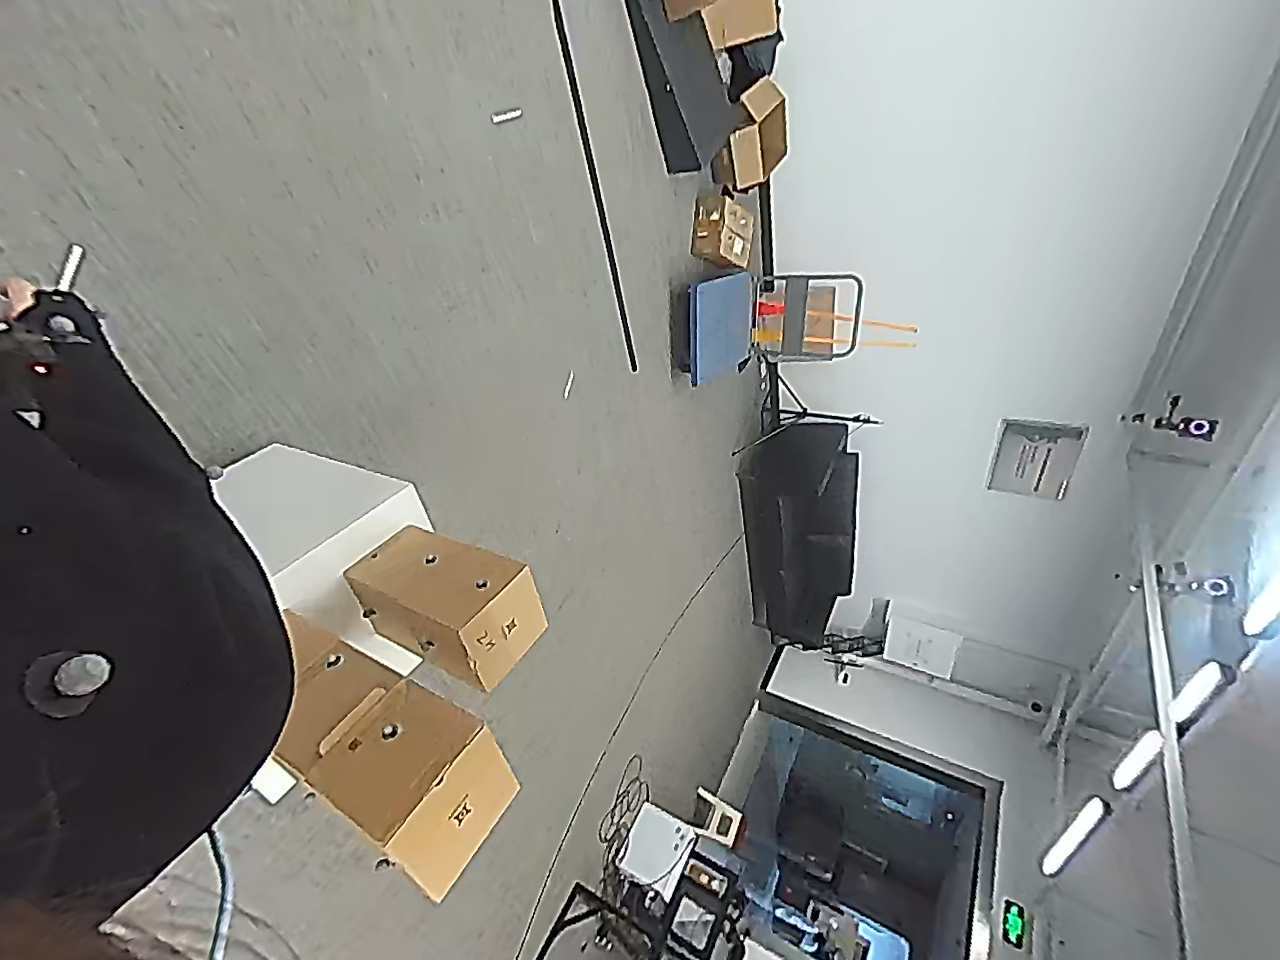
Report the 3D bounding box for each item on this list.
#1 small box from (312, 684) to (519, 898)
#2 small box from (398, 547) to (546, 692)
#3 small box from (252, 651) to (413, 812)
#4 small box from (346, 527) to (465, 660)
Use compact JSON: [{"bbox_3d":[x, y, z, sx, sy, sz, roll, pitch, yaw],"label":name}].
[{"bbox_3d":[-0.302,0.416,0.747,0.168,0.176,0.179,-48,139,-41],"label":"small box"},{"bbox_3d":[-0.306,0.248,1.005,0.179,0.176,0.168,-46,137,-43],"label":"small box"},{"bbox_3d":[-0.440,0.387,0.828,0.168,0.176,0.179,-48,140,-42],"label":"small box"},{"bbox_3d":[-0.446,0.221,1.088,0.168,0.176,0.179,-46,139,-44],"label":"small box"}]
